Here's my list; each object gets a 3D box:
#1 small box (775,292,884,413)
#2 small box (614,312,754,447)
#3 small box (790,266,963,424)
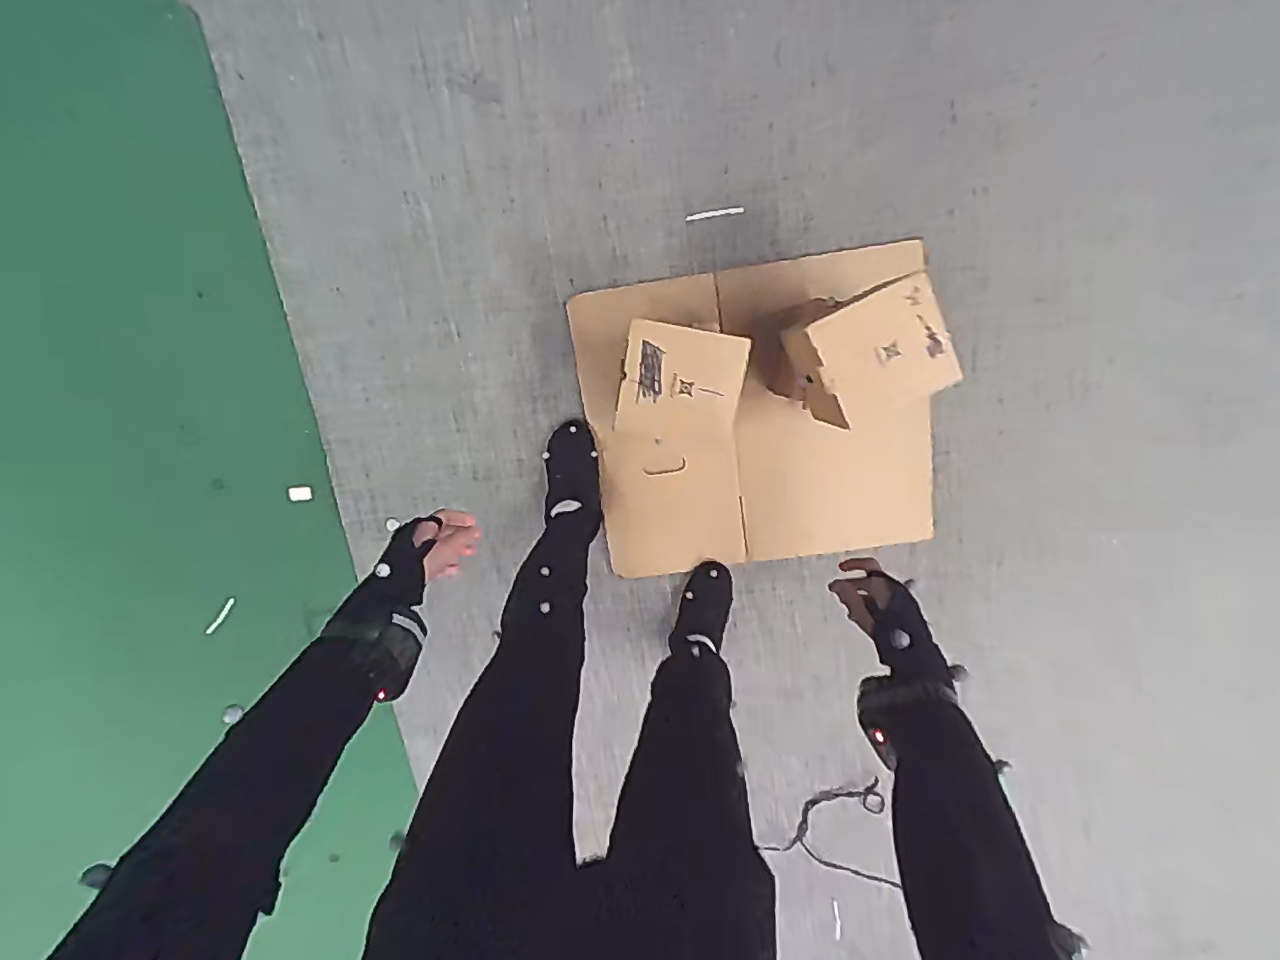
[{"bbox_3d":[0.360,-0.231,0.994,0.168,0.176,0.179,11,103,-1],"label":"small box"},{"bbox_3d":[0.061,-0.158,0.850,0.179,0.176,0.168,10,102,-2],"label":"small box"},{"bbox_3d":[0.346,-0.201,0.833,0.179,0.176,0.168,-25,101,7],"label":"small box"}]
